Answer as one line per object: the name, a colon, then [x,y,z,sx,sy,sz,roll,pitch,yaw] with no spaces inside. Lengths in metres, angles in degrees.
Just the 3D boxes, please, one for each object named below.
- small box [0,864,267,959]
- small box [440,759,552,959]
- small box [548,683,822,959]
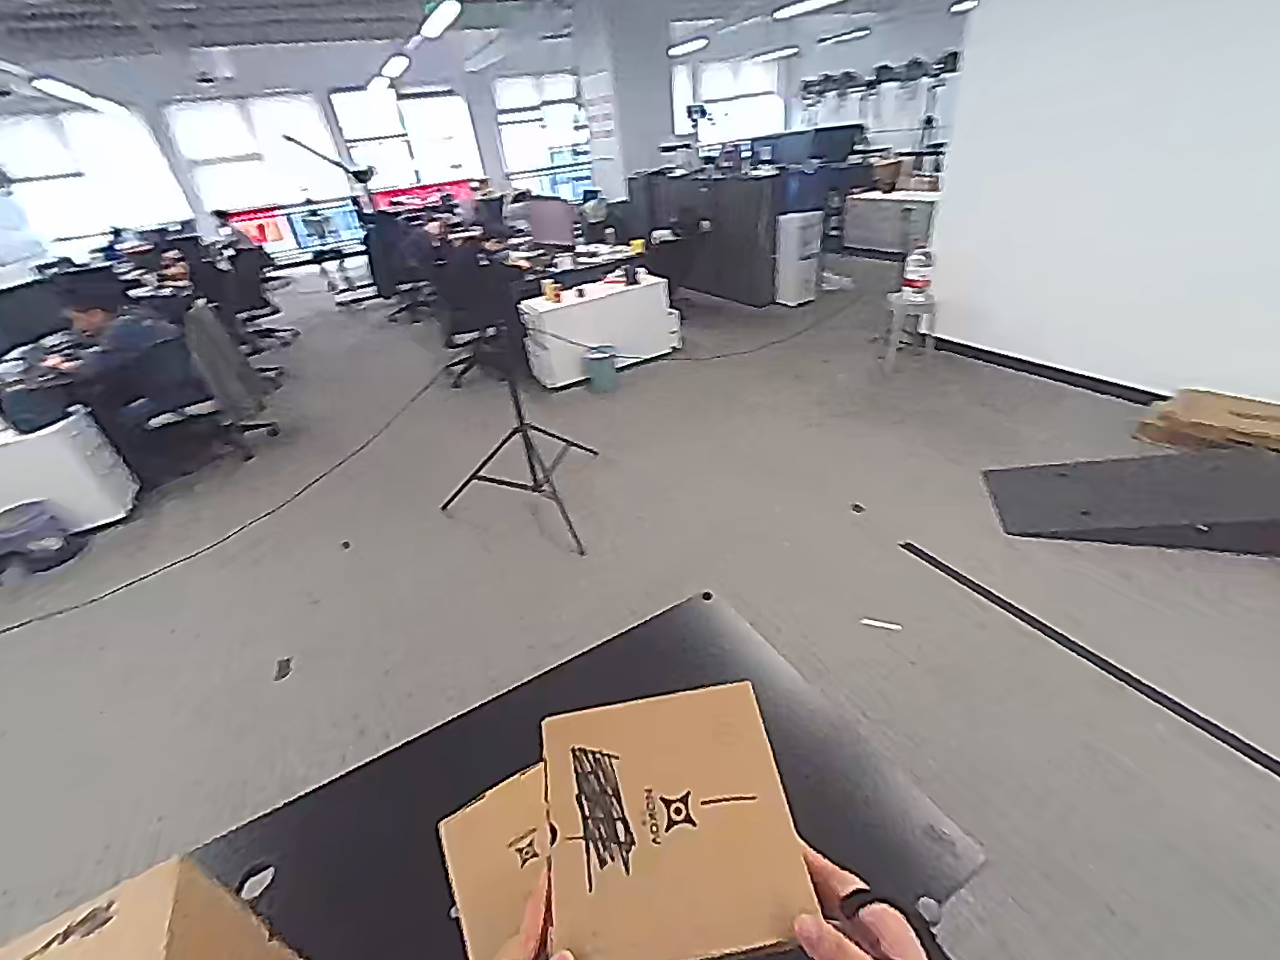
small box: [-0.425,0.472,0.431,0.168,0.176,0.179,-23,35,-23]
small box: [-0.119,0.487,0.653,0.168,0.176,0.179,-24,36,-22]
small box: [0.027,0.294,0.449,0.179,0.176,0.168,-9,47,-3]
